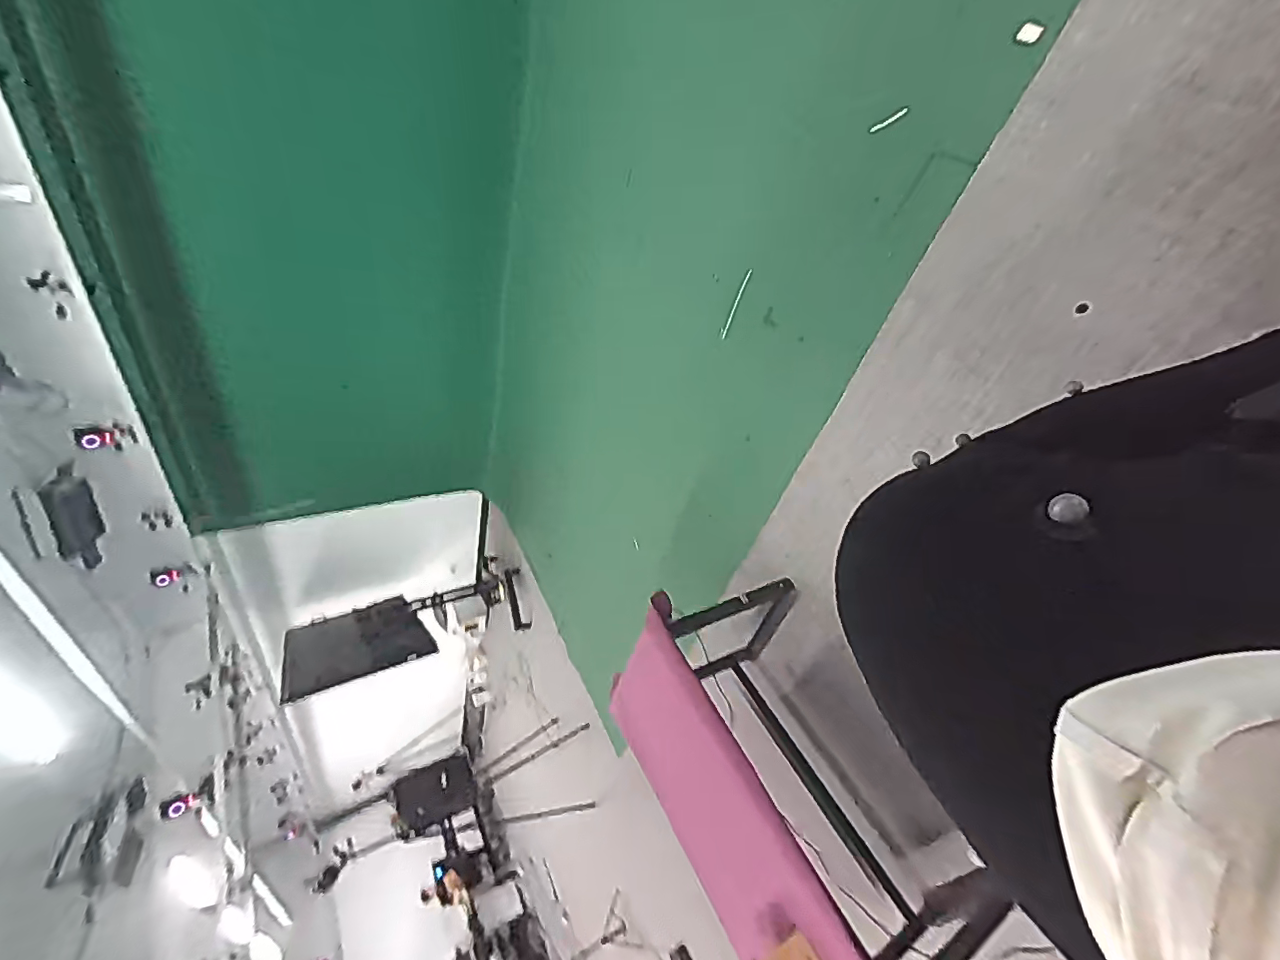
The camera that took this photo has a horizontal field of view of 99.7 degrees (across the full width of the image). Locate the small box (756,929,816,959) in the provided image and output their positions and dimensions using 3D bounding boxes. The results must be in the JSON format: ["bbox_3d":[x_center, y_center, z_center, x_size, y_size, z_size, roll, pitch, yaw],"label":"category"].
[{"bbox_3d":[0.378,1.339,1.420,0.168,0.176,0.179,50,138,39],"label":"small box"}]
